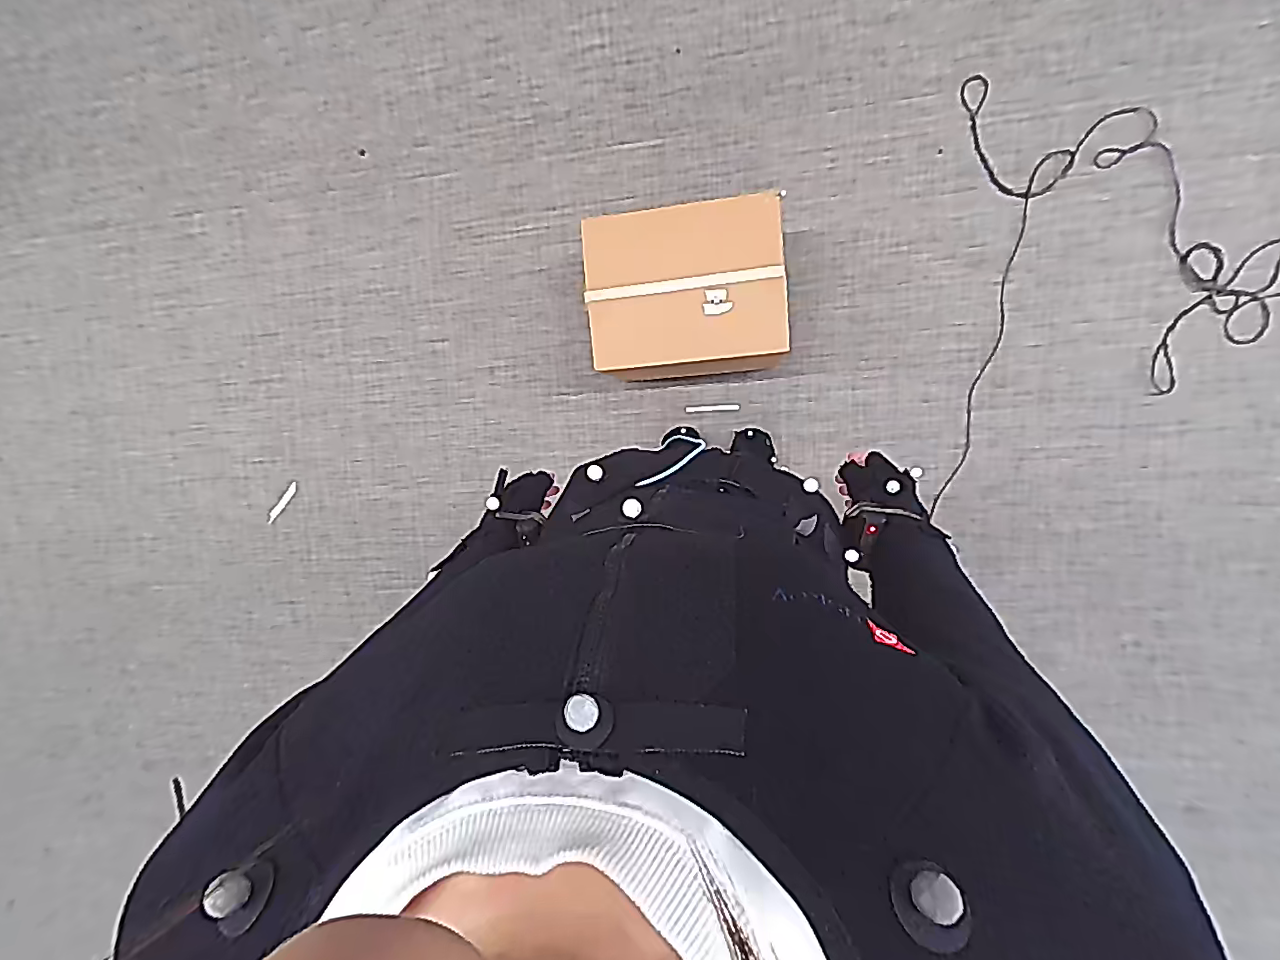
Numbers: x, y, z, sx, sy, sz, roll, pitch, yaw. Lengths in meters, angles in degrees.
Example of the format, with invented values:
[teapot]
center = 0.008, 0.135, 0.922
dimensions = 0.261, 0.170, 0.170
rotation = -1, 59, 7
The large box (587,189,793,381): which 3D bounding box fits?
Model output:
[large box]
center = 0.120, -0.417, 1.248
dimensions = 0.408, 0.320, 0.320
rotation = -4, 96, 9
